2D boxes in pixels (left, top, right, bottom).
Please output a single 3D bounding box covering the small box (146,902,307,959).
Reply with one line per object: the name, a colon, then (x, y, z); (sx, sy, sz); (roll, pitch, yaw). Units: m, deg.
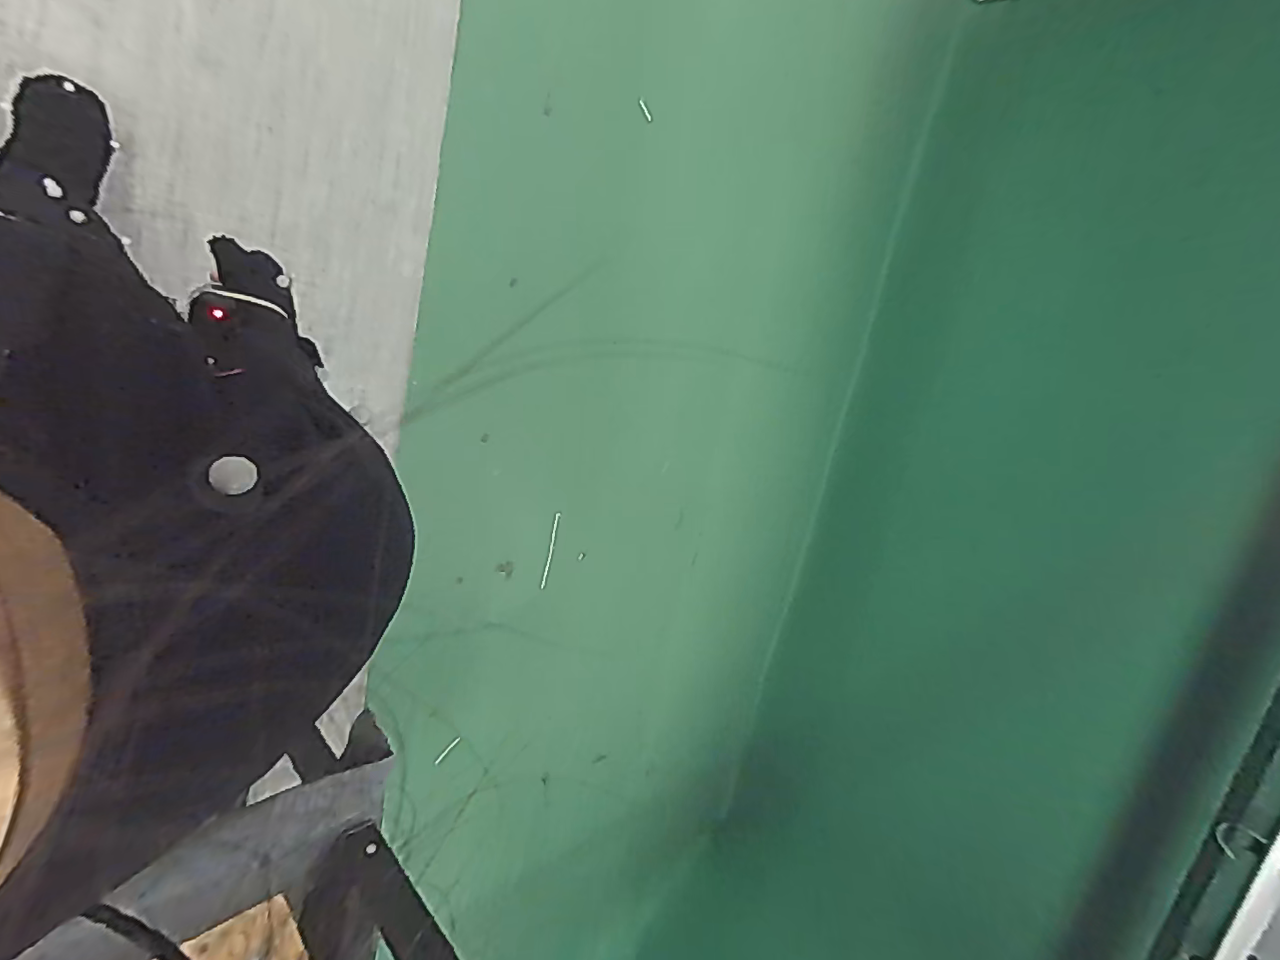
small box: (-0.590, 0.753, 0.765); (0.168, 0.176, 0.179); (-2, 109, -49)
